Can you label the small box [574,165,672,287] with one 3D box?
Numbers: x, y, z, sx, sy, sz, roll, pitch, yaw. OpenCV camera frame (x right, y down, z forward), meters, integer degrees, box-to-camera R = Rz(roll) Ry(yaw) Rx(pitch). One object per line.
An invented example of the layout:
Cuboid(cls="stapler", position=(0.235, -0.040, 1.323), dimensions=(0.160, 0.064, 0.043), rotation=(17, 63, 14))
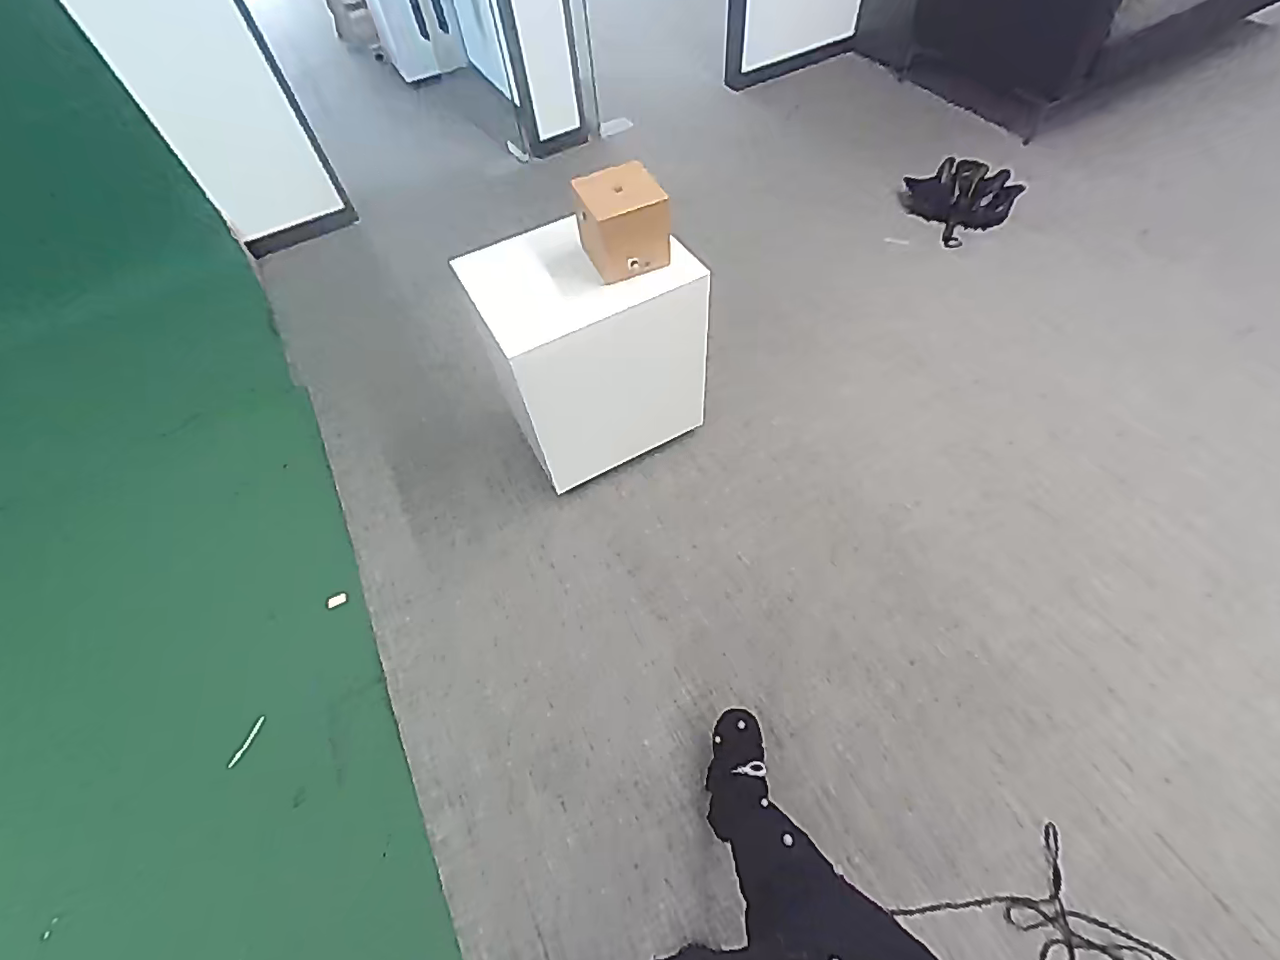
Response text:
Cuboid(cls="small box", position=(-0.035, -0.575, 1.235), dimensions=(0.168, 0.176, 0.179), rotation=(-23, 59, -9))
